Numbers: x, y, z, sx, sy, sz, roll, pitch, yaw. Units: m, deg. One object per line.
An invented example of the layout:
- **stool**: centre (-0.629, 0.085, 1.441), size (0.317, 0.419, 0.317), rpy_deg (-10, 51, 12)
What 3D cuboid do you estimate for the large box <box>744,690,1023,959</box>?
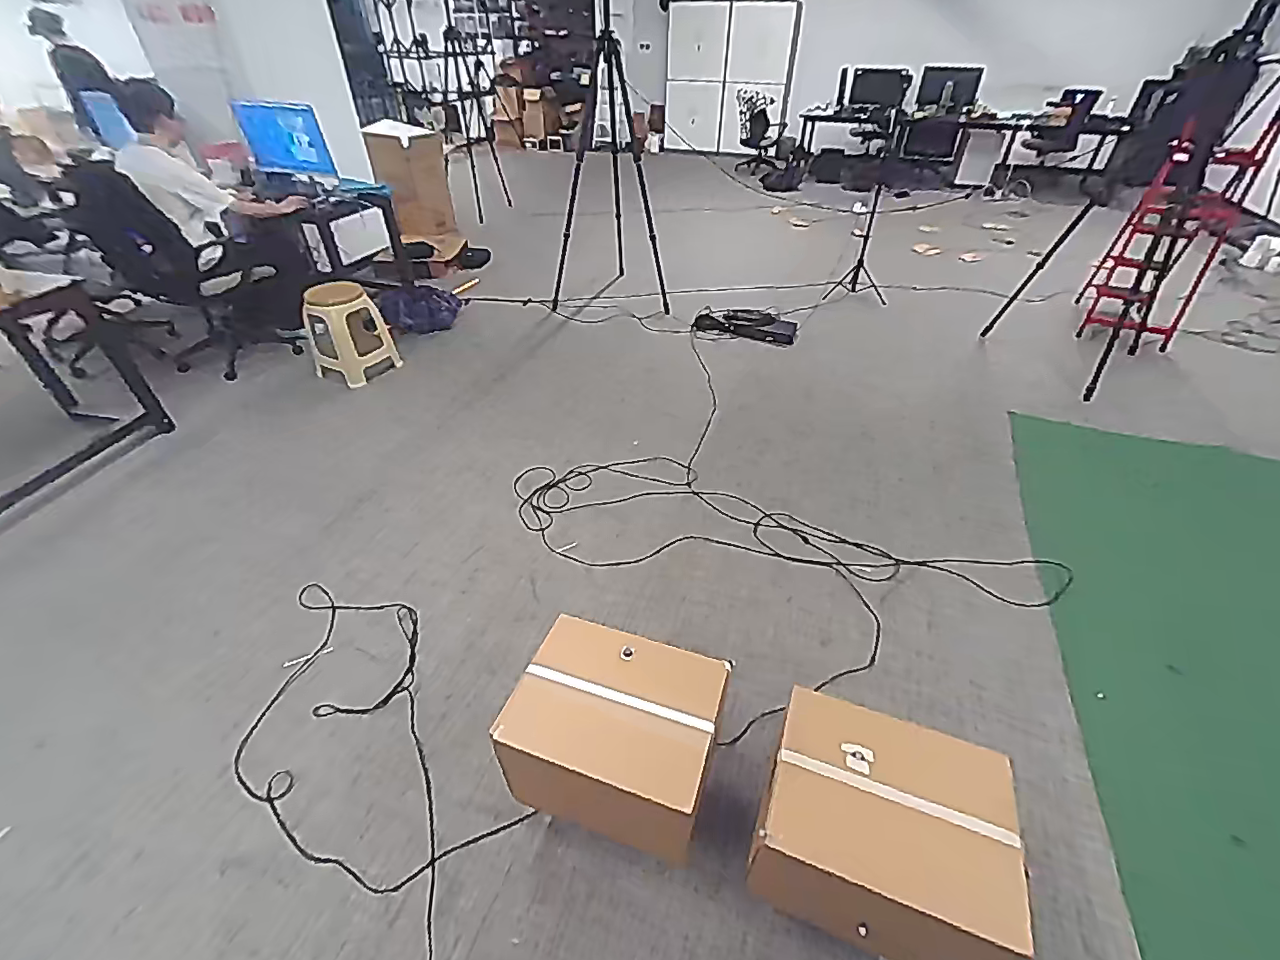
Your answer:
- **large box**: centre (0.450, 0.687, 1.069), size (0.408, 0.320, 0.320), rpy_deg (14, 41, 17)
